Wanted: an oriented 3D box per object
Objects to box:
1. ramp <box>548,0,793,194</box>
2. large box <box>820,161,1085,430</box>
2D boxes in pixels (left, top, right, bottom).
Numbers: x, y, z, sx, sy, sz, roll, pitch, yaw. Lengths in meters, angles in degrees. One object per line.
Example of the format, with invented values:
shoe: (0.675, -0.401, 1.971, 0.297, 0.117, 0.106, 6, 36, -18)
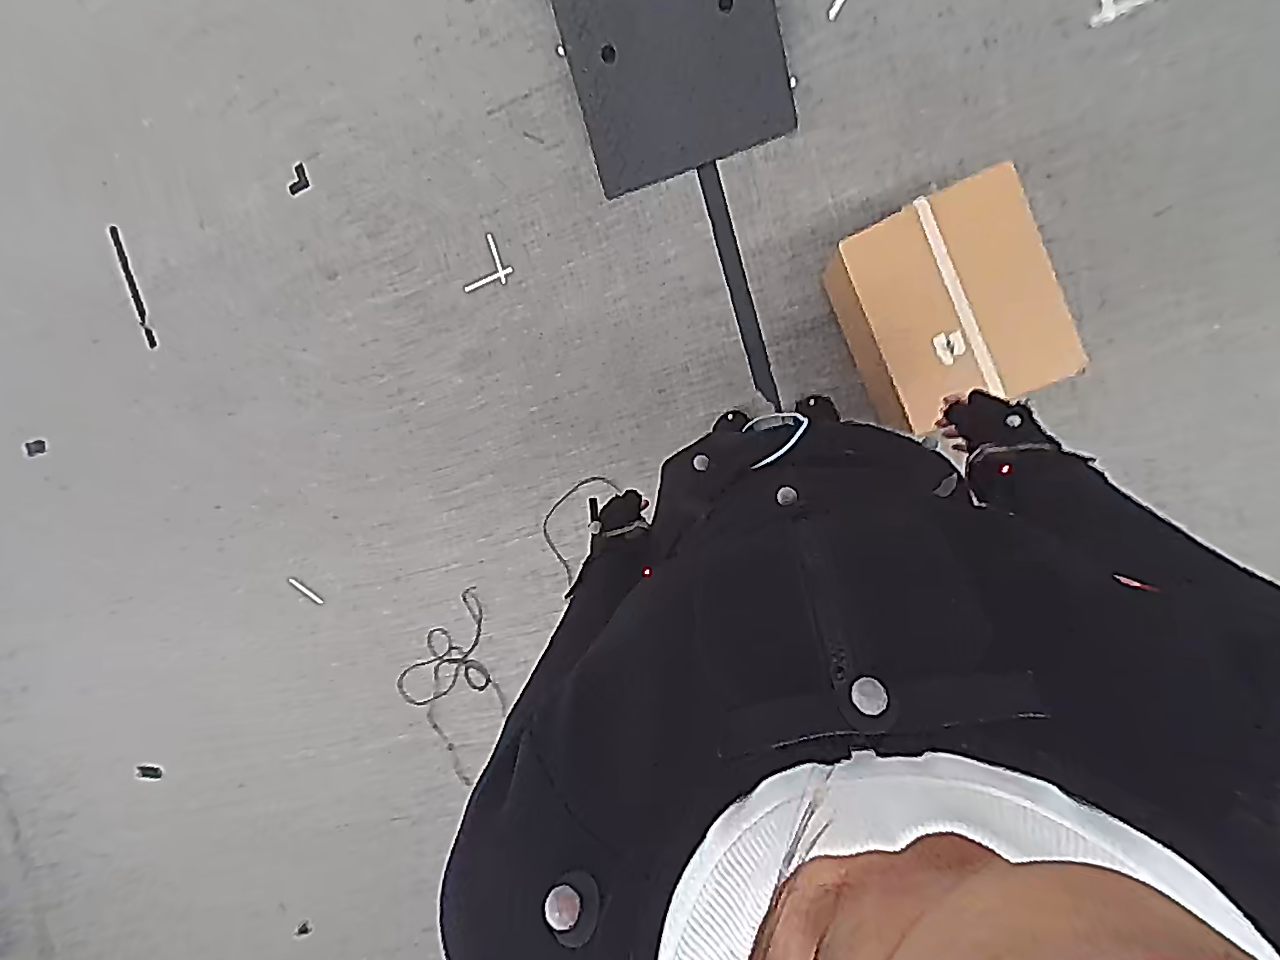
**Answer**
ramp: (-0.005, -1.247, 1.208, 0.509, 0.206, 0.991, -15, 96, 14)
large box: (0.622, -0.357, 1.151, 0.320, 0.320, 0.408, -23, 94, 16)
